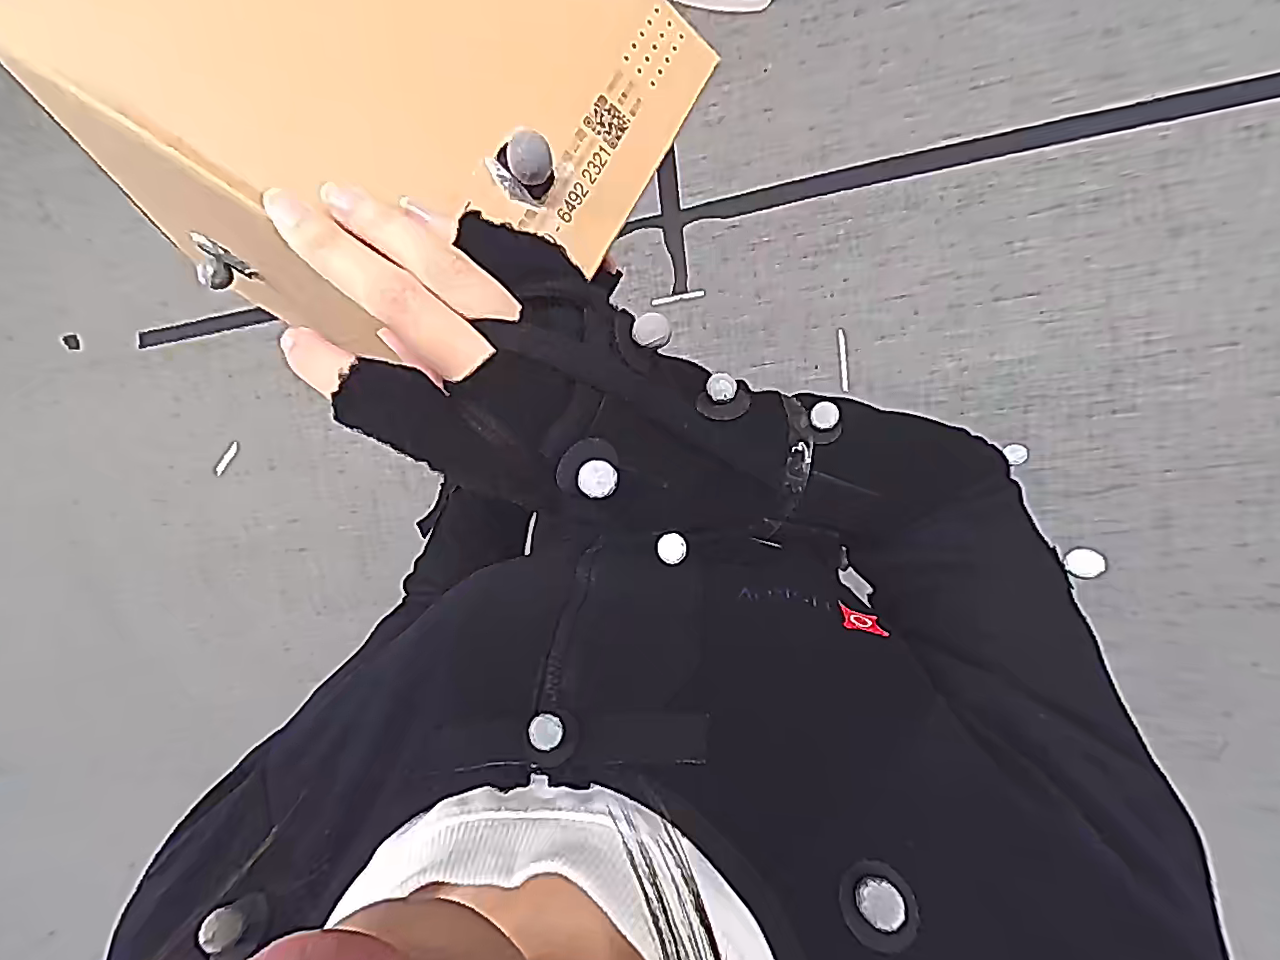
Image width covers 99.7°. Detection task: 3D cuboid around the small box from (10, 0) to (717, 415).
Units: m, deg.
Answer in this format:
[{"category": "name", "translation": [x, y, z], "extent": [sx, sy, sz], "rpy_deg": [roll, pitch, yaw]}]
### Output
[{"category": "small box", "translation": [-0.097, -0.144, 0.261], "extent": [0.176, 0.179, 0.168], "rpy_deg": [31, 79, -22]}]
